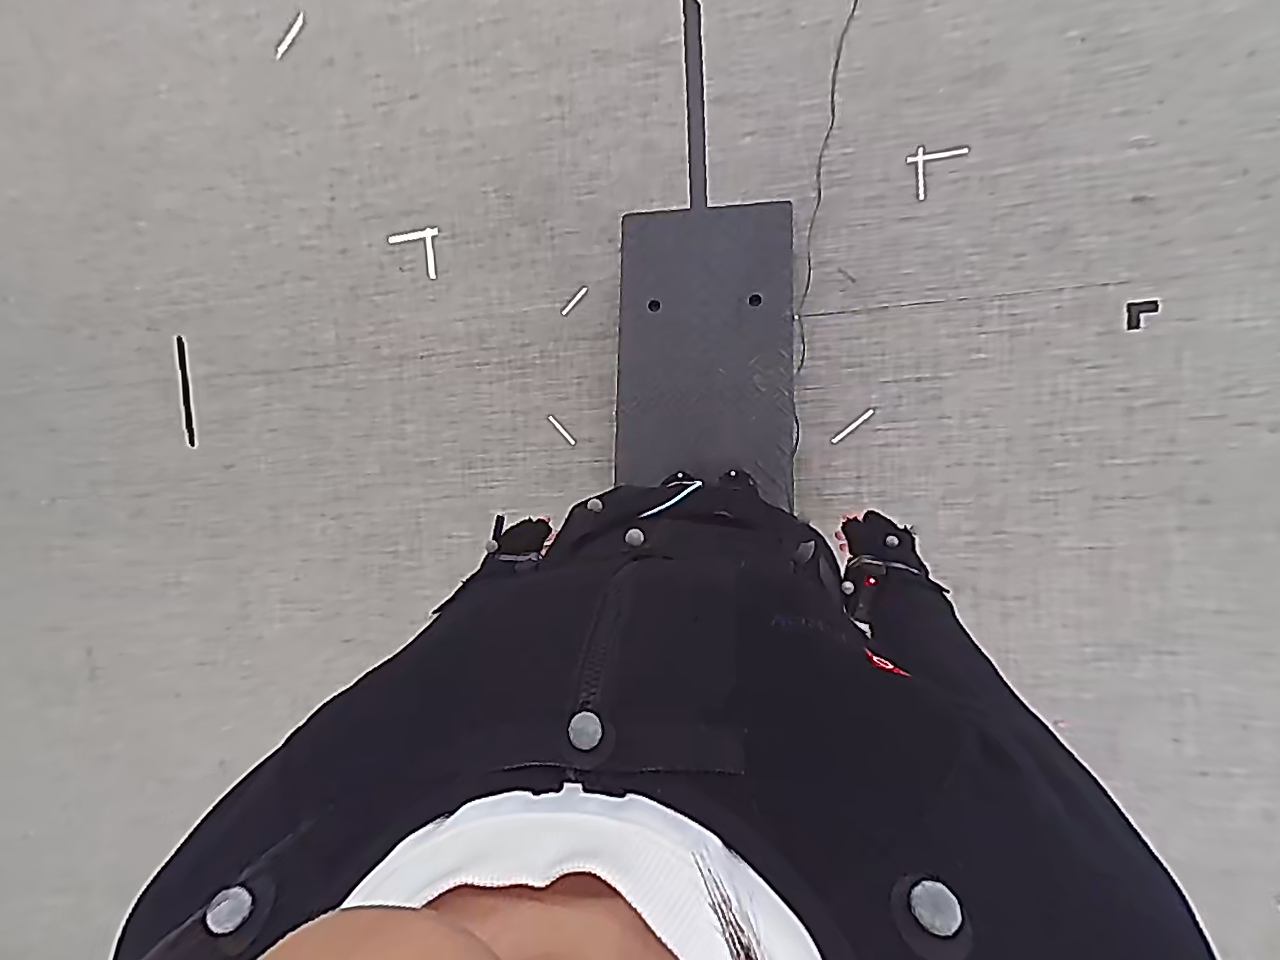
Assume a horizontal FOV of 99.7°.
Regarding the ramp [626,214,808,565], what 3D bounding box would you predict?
[{"bbox_3d":[0.199,-0.264,1.524,0.509,0.206,0.991,-3,91,12],"label":"ramp"}]
